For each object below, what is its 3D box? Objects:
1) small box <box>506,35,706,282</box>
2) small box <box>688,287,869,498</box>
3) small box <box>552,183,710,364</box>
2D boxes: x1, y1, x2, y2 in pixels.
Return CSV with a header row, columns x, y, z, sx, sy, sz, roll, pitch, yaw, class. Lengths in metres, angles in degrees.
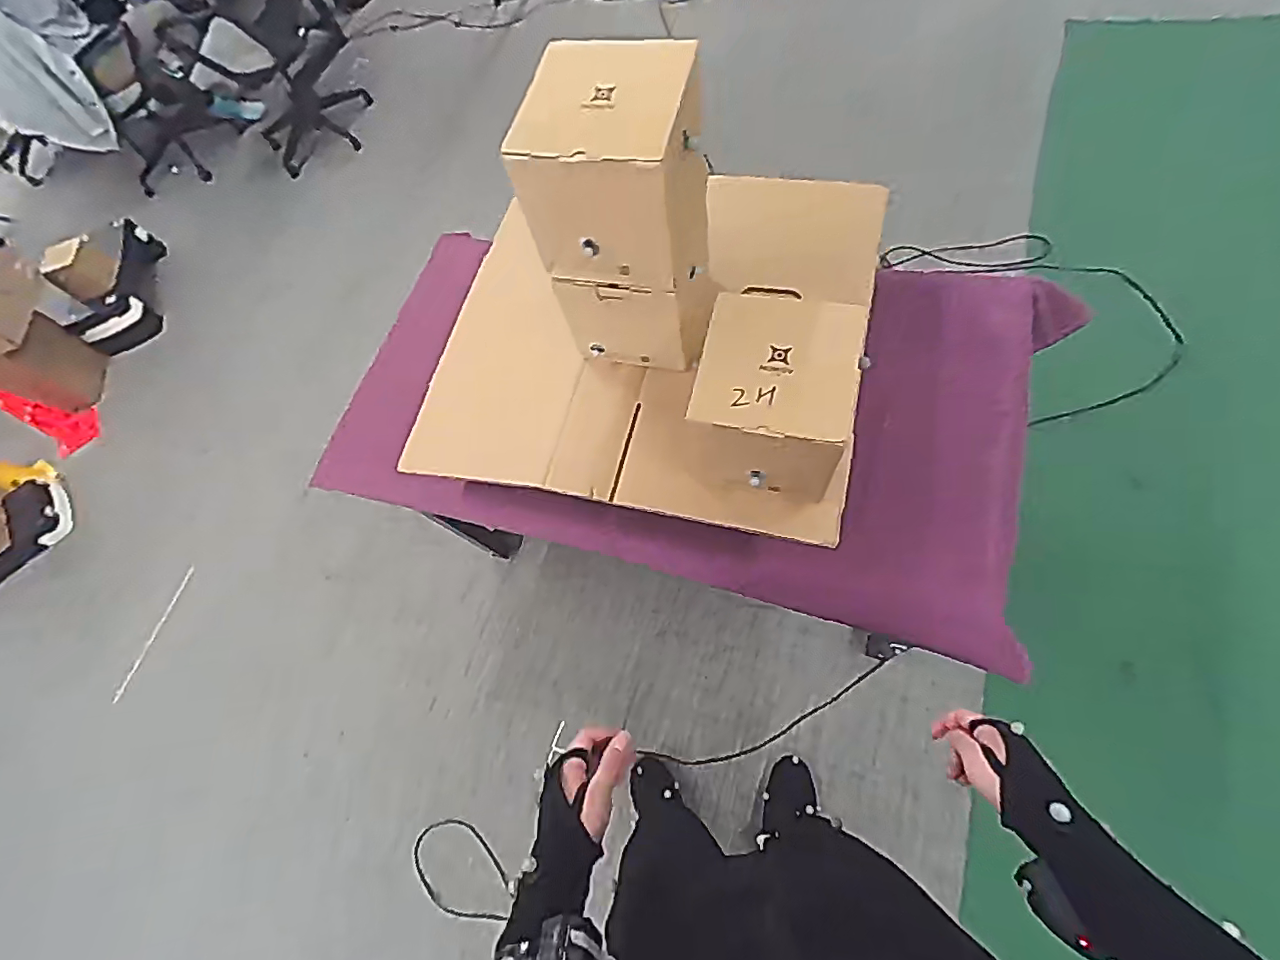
x,y,z,sx,sy,sz,roll,pitch,yaw,class
-0.023,-0.352,0.607,0.168,0.176,0.179,10,71,12,small box
0.161,-0.099,0.650,0.168,0.176,0.179,11,71,14,small box
0.001,-0.283,0.752,0.168,0.176,0.179,11,70,13,small box
